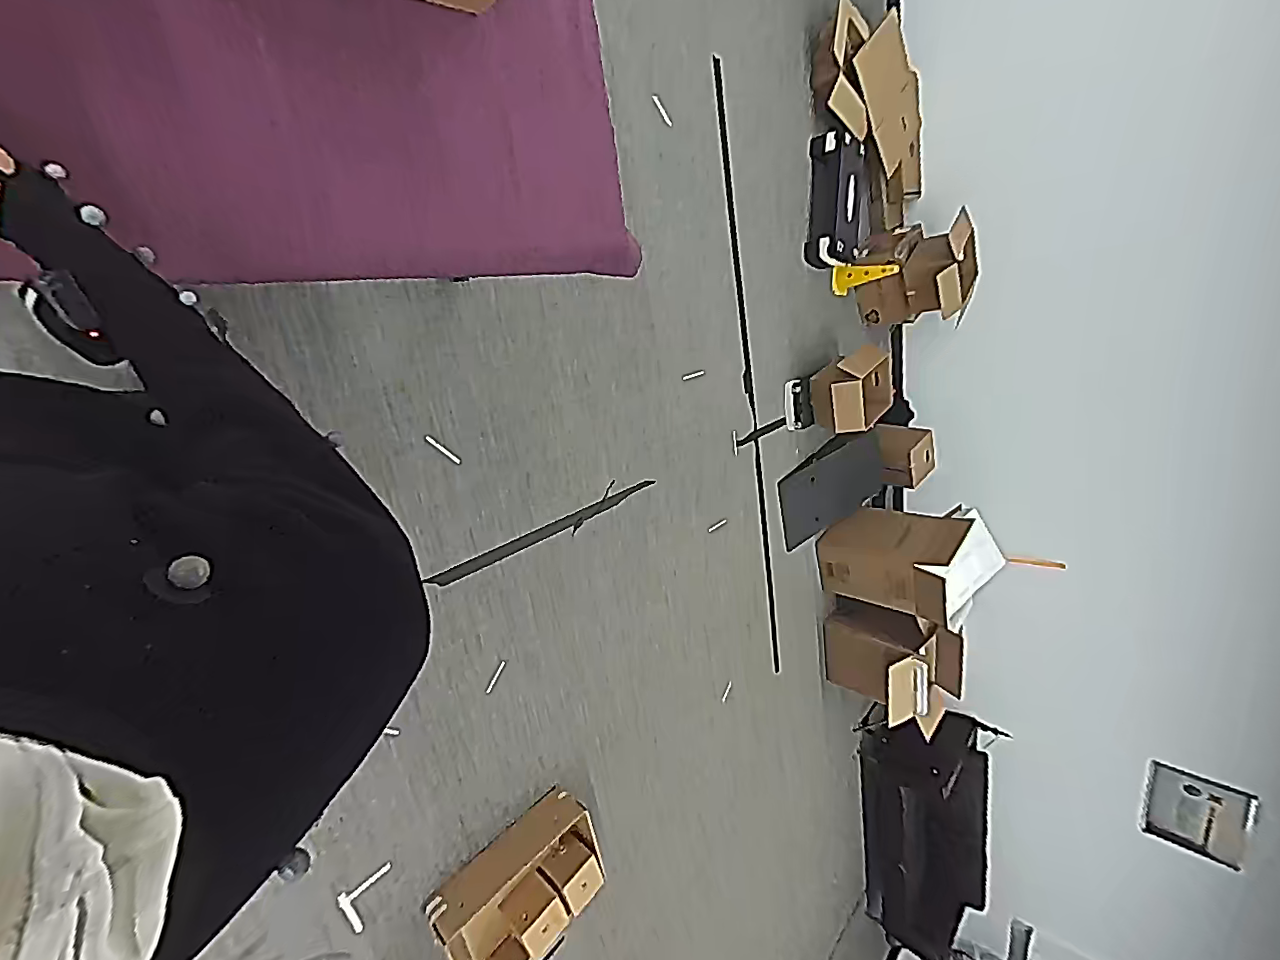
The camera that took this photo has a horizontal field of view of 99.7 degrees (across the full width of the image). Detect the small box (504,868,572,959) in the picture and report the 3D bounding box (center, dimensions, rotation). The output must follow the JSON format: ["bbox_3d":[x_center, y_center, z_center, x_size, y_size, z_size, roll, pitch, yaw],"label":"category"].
[{"bbox_3d":[-0.397,1.651,2.068,0.179,0.176,0.168,-32,118,-36],"label":"small box"}]
